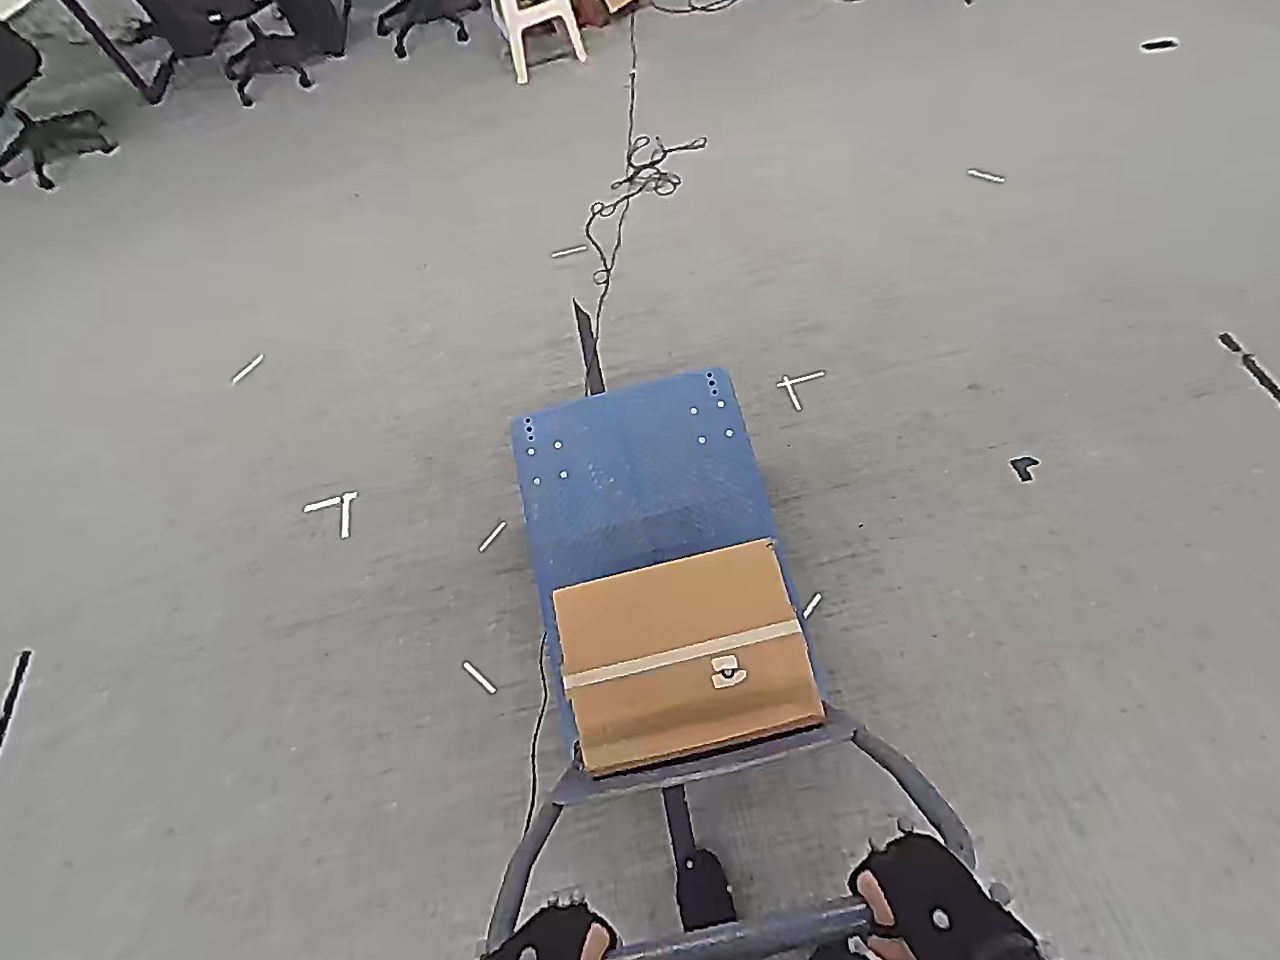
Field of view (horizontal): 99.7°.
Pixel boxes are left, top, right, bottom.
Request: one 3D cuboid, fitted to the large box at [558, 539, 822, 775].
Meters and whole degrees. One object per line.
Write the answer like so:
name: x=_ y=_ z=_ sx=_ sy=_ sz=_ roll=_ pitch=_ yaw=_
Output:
large box: x=0.087 y=0.342 z=1.080 sx=0.408 sy=0.320 sz=0.320 roll=-15 pitch=74 yaw=0
